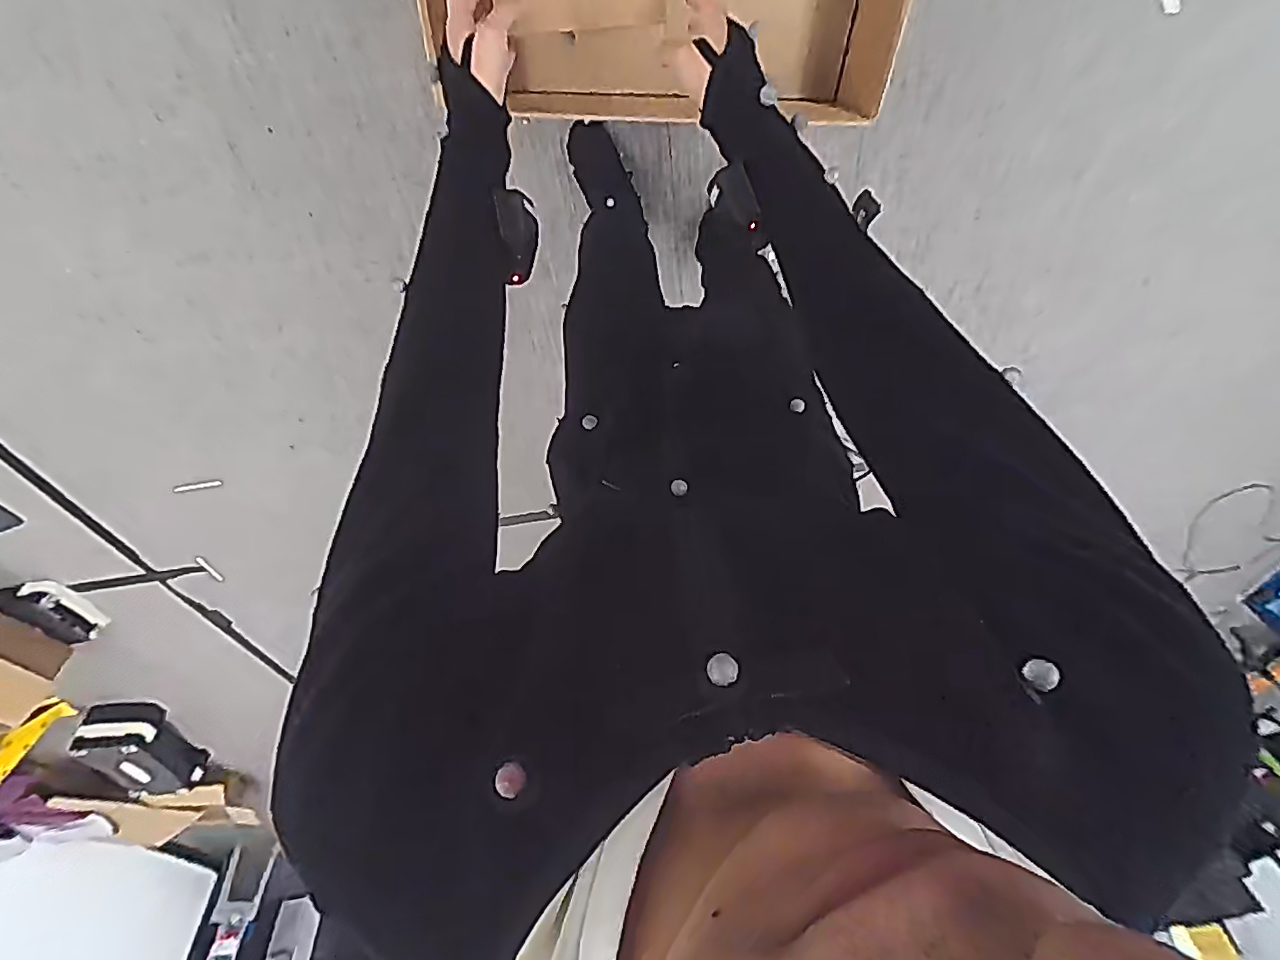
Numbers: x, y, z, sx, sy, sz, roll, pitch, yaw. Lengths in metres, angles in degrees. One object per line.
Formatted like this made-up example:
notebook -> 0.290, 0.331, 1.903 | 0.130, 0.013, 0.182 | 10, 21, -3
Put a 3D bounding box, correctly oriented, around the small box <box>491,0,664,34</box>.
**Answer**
small box -> -0.070, -0.553, 0.524 | 0.168, 0.176, 0.179 | -6, 133, -2
